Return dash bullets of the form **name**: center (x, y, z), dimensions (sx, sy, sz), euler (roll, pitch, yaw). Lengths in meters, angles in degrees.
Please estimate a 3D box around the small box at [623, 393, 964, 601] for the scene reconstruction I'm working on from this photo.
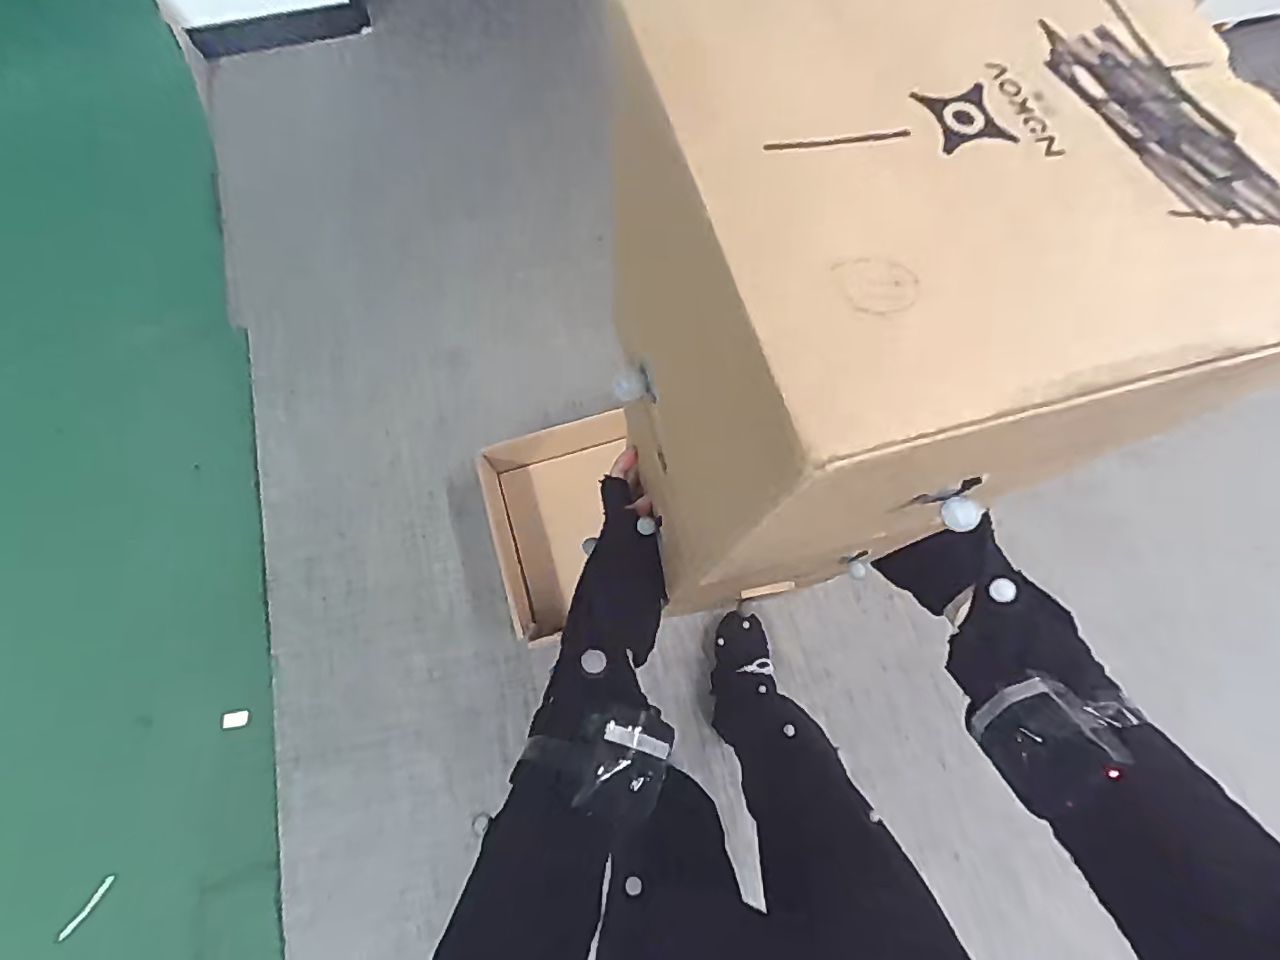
- **small box**: center (0.083, -0.016, 0.393), dimensions (0.168, 0.176, 0.179), euler (-11, 70, -6)

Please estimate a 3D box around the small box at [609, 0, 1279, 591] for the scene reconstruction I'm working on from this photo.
- **small box**: center (0.091, -0.062, 0.236), dimensions (0.179, 0.176, 0.168), euler (-17, 73, -9)

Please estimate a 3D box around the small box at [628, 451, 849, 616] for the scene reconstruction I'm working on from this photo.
- **small box**: center (0.082, 0.037, 0.548), dimensions (0.168, 0.176, 0.179), euler (-9, 72, -5)
